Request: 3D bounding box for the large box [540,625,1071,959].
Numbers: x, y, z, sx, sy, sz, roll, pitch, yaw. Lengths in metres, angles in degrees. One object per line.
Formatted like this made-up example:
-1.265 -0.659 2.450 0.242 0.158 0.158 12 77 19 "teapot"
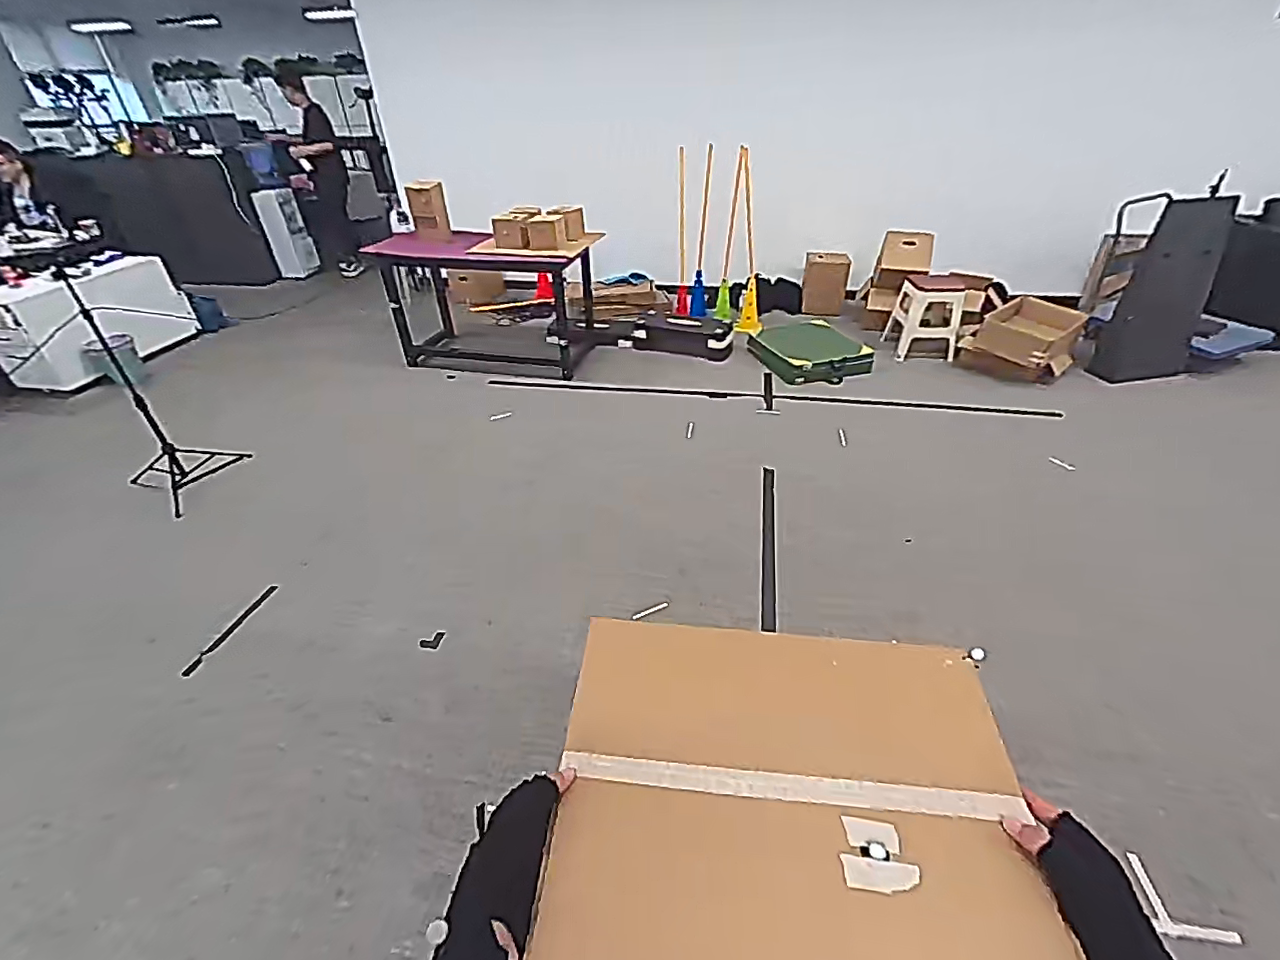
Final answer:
0.136 0.389 0.591 0.408 0.320 0.320 4 44 6 "large box"
